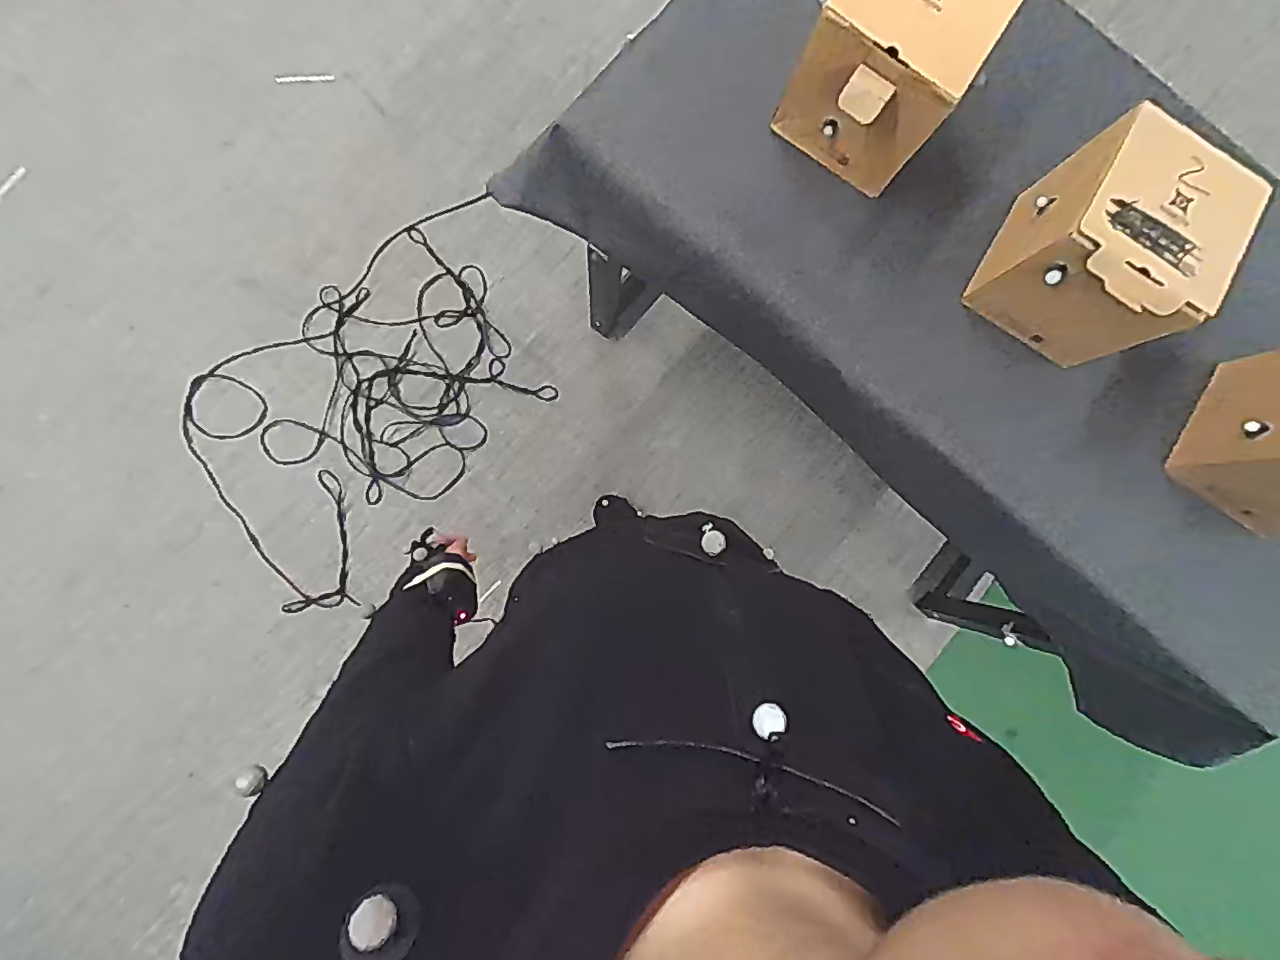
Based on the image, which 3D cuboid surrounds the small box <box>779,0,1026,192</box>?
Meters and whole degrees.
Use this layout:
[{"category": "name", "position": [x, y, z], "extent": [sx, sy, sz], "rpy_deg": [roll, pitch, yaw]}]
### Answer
[{"category": "small box", "position": [0.286, -0.483, 0.616], "extent": [0.168, 0.176, 0.179], "rpy_deg": [33, 84, -2]}]

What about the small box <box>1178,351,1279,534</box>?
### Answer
[{"category": "small box", "position": [0.798, -0.045, 0.627], "extent": [0.168, 0.176, 0.179], "rpy_deg": [33, 83, -3]}]
